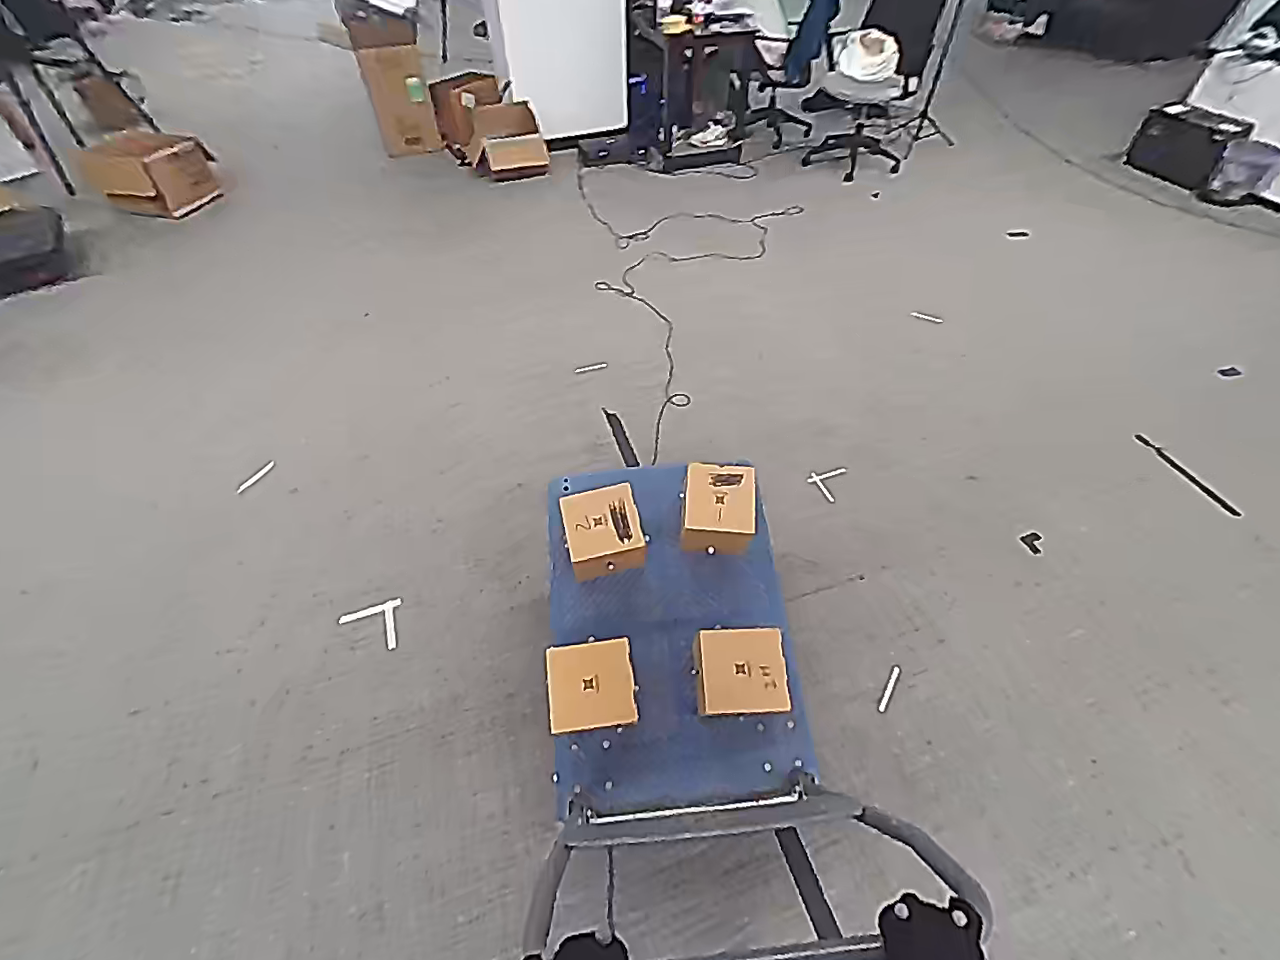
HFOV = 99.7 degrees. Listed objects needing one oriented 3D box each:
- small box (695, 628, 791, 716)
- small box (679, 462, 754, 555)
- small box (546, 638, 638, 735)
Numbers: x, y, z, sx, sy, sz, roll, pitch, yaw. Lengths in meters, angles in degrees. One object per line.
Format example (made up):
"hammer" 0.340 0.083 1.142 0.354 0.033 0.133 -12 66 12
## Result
"small box" 0.215 0.426 1.189 0.179 0.176 0.168 -2 65 -1
"small box" 0.189 0.074 1.357 0.168 0.176 0.179 4 66 2
"small box" -0.101 0.453 1.174 0.179 0.176 0.168 -7 64 -5
